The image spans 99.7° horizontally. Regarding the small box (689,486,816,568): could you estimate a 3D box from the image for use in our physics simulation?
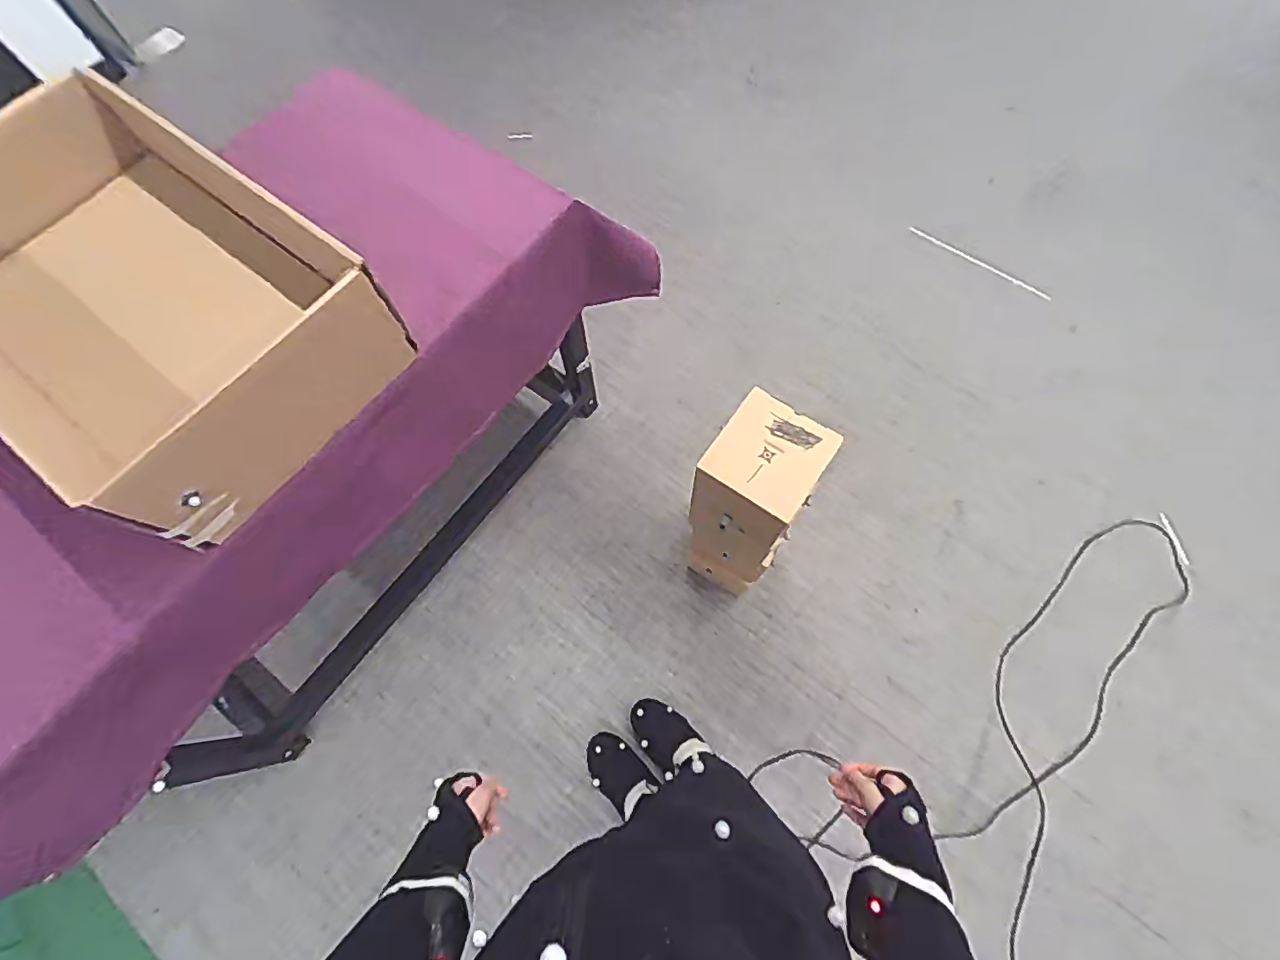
[{"bbox_3d":[0.209,0.053,1.064,0.179,0.176,0.168,36,74,14],"label":"small box"}]

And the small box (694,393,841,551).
[{"bbox_3d":[0.202,-0.007,0.911,0.168,0.176,0.179,34,74,14],"label":"small box"}]
